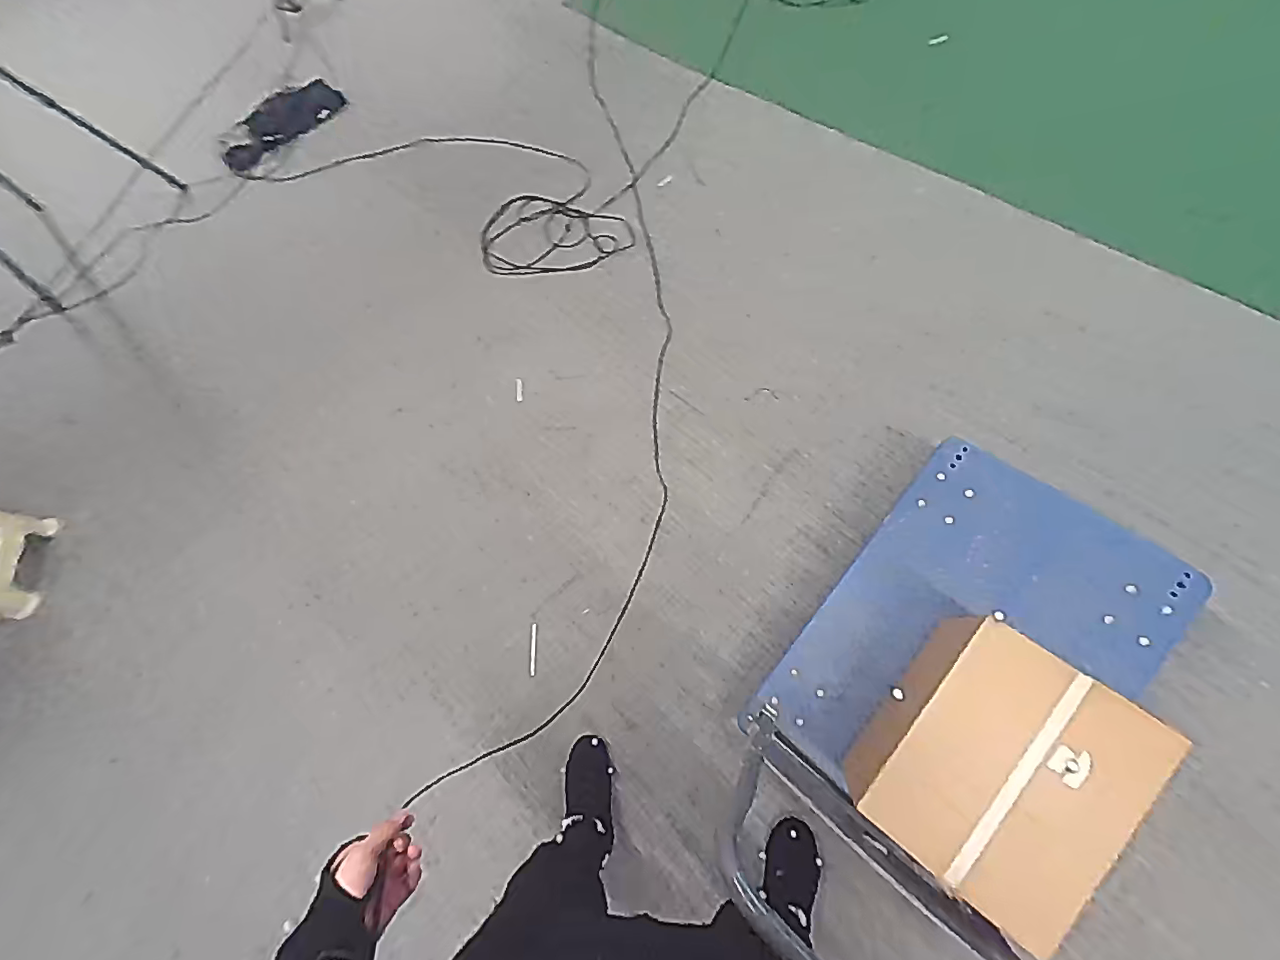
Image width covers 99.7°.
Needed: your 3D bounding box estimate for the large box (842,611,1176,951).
[{"bbox_3d":[0.629,0.505,1.006,0.320,0.320,0.408,36,87,20],"label":"large box"}]
